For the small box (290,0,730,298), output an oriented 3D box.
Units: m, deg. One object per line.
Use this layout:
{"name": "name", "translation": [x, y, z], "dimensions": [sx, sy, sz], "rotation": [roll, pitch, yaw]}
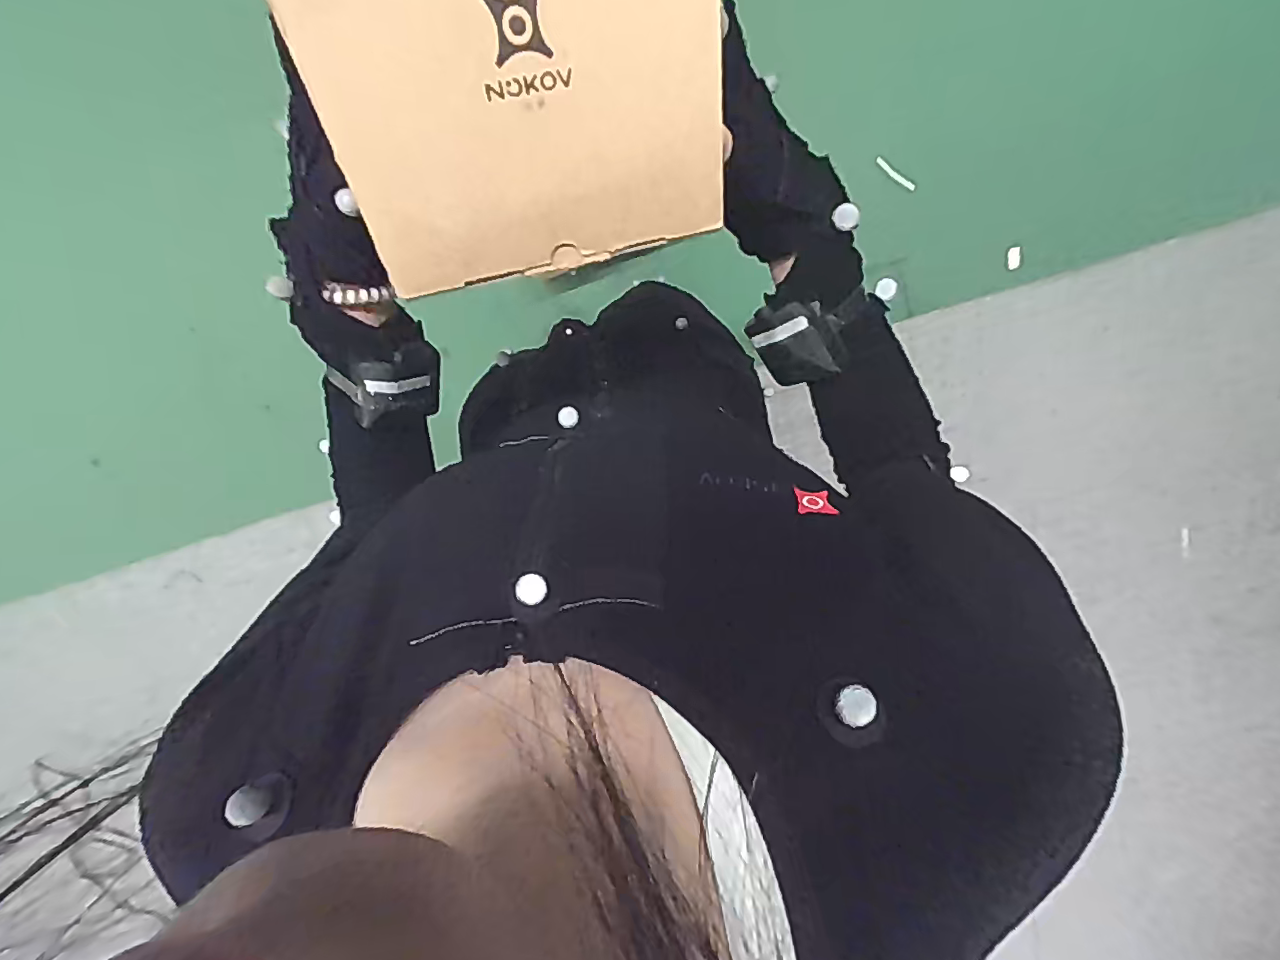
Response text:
{"name": "small box", "translation": [-0.064, -0.222, 0.269], "dimensions": [0.168, 0.176, 0.179], "rotation": [-16, 135, -6]}
